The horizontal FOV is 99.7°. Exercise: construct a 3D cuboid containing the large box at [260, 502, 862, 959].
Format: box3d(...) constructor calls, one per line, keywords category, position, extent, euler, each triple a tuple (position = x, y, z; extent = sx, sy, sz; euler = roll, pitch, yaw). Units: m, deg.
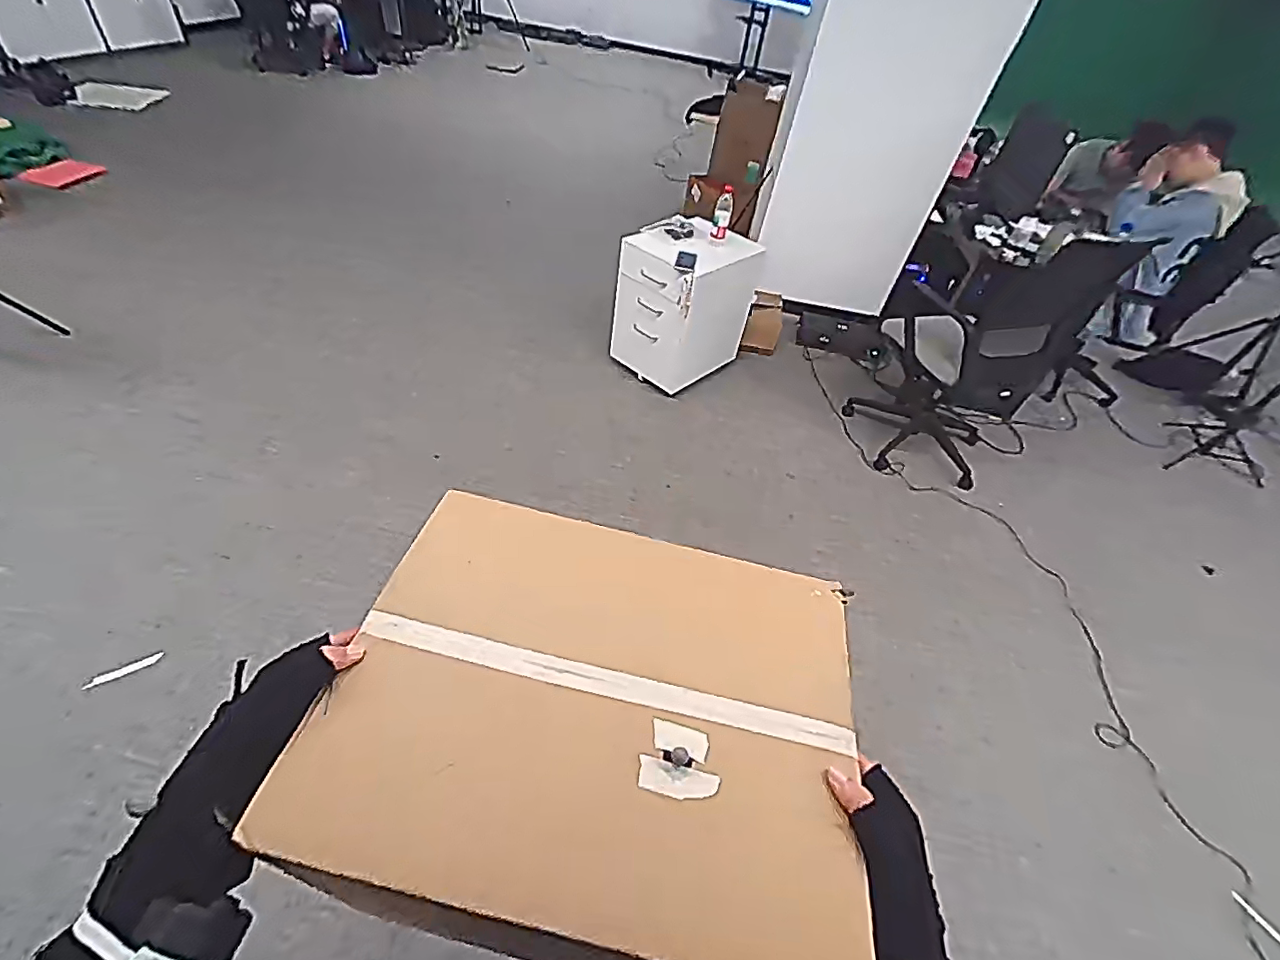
box3d(category="large box", position=(-0.049, 0.271, 0.550), extent=(0.408, 0.320, 0.320), euler=(14, 46, 2))
